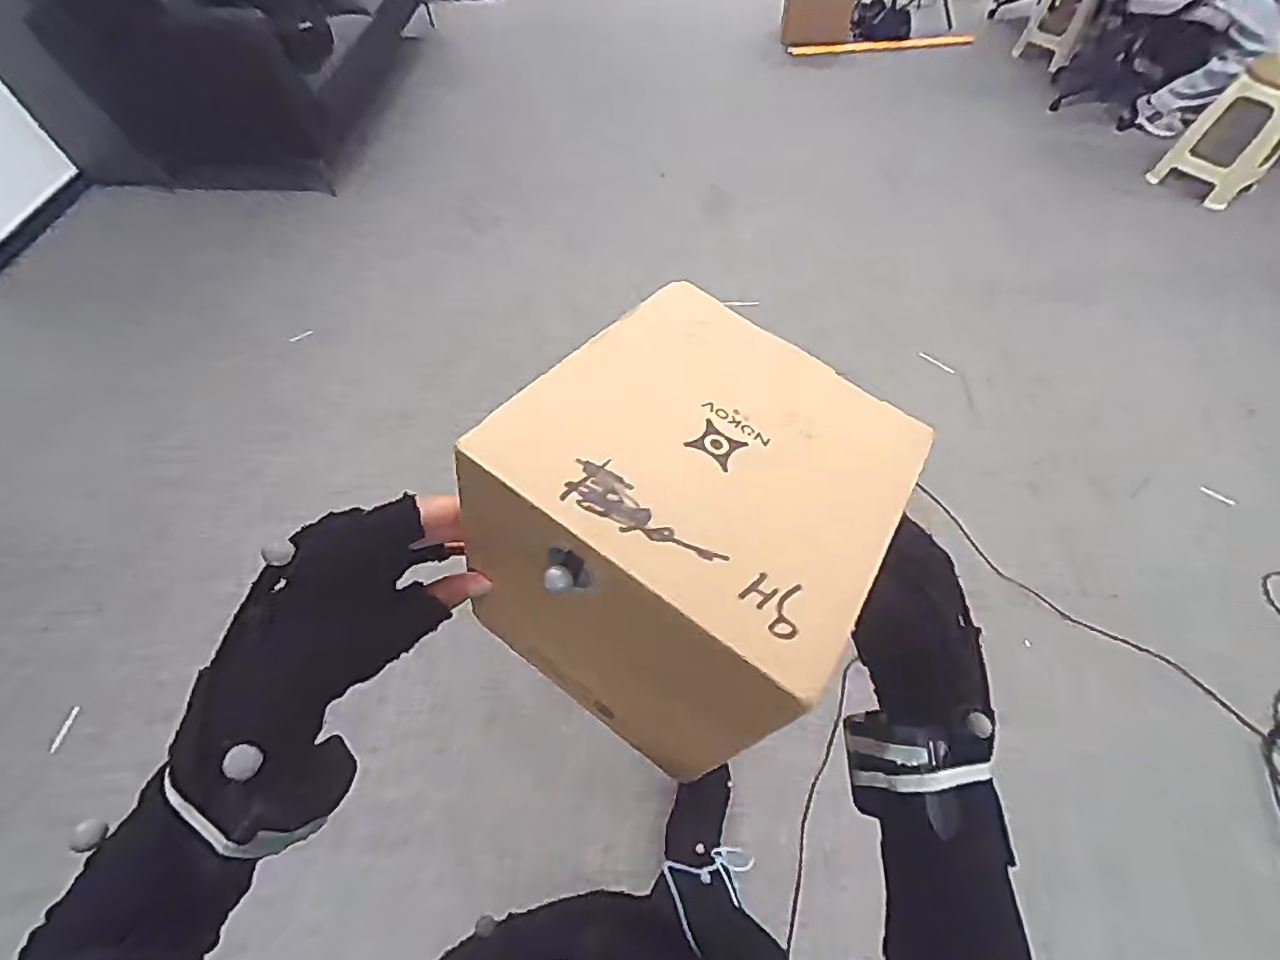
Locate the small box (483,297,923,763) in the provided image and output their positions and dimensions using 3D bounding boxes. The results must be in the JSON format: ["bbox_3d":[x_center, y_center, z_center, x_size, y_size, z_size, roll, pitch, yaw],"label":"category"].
[{"bbox_3d":[0.026,0.030,0.322,0.168,0.176,0.179,35,53,13],"label":"small box"}]
